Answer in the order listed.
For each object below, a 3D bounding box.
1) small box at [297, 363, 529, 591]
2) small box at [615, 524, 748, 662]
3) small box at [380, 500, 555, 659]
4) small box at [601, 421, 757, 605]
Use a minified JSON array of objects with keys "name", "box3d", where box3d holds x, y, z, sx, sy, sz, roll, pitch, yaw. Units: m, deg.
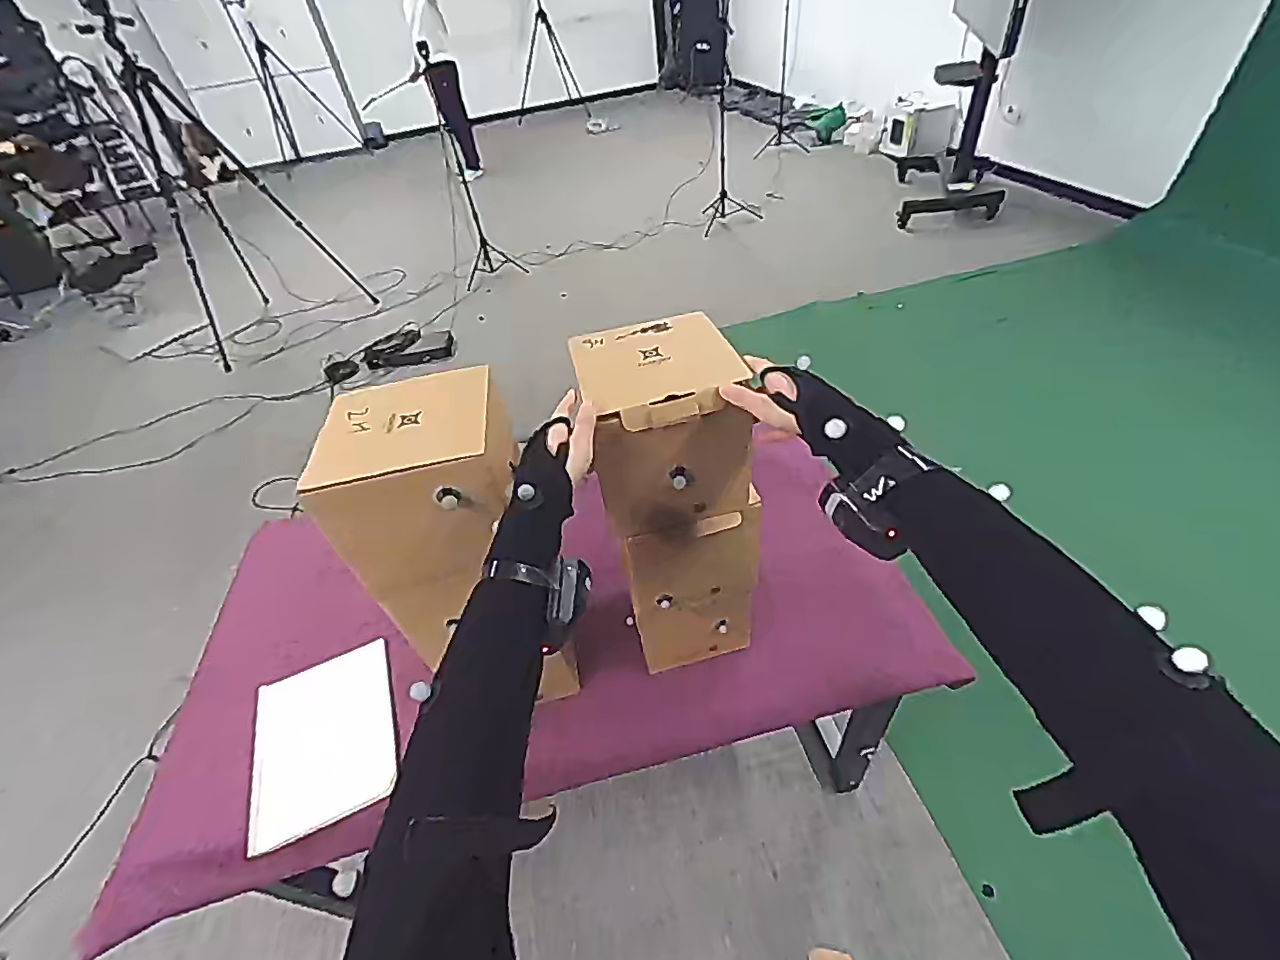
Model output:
[{"name":"small box","box3d":[-0.226,-0.002,0.599,0.179,0.176,0.168,-12,42,-2]},{"name":"small box","box3d":[0.065,0.166,0.854,0.168,0.176,0.179,-13,43,-5]},{"name":"small box","box3d":[-0.215,0.115,0.715,0.168,0.176,0.179,-13,42,-4]},{"name":"small box","box3d":[0.052,0.050,0.740,0.168,0.176,0.179,-14,43,-6]}]
